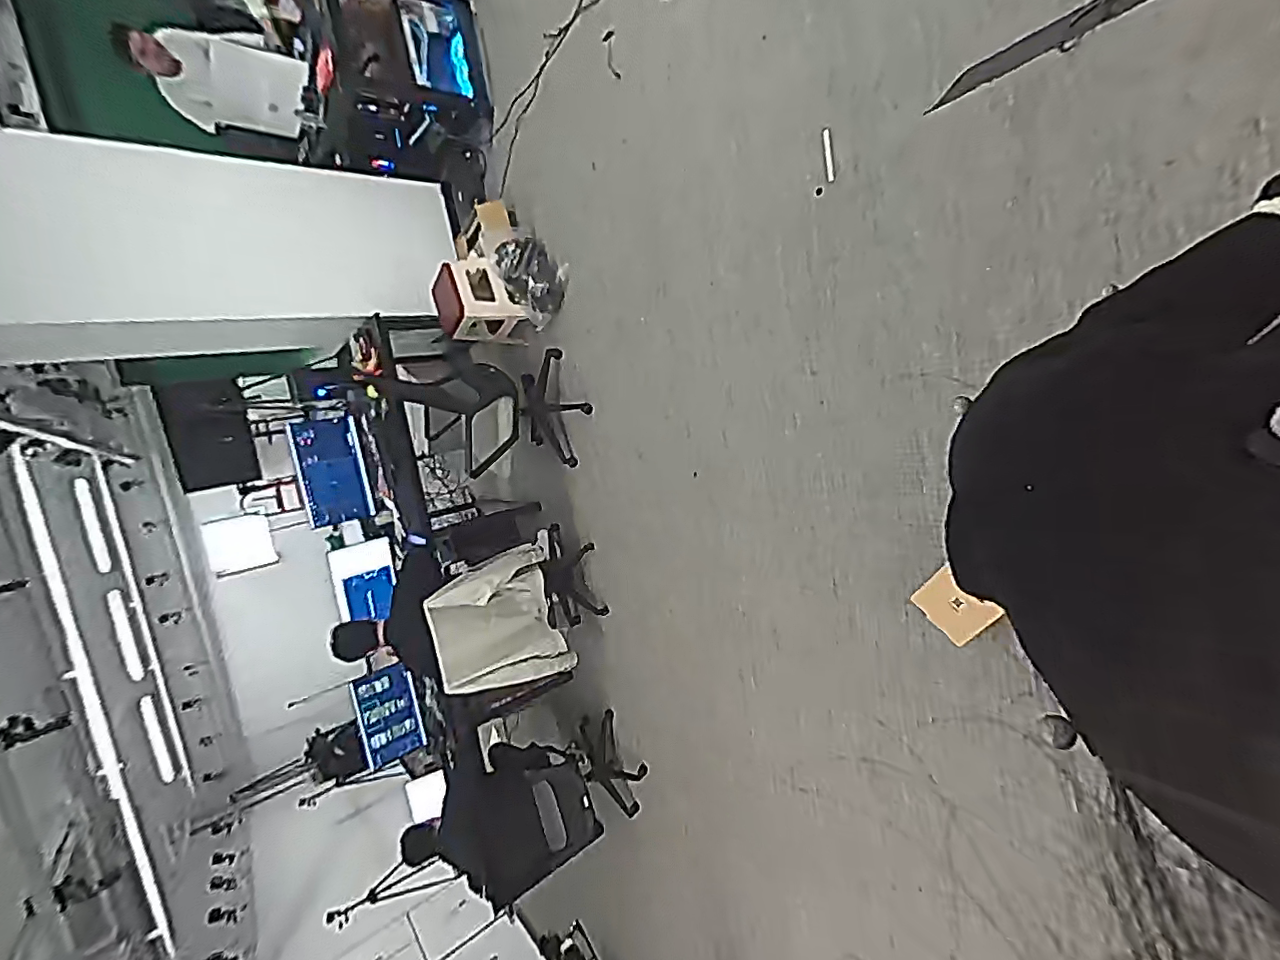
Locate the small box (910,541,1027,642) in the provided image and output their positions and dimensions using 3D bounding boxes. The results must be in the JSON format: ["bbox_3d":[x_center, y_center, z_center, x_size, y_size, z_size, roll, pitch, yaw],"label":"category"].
[{"bbox_3d":[0.864,0.288,1.420,0.168,0.176,0.179,51,138,29],"label":"small box"}]
